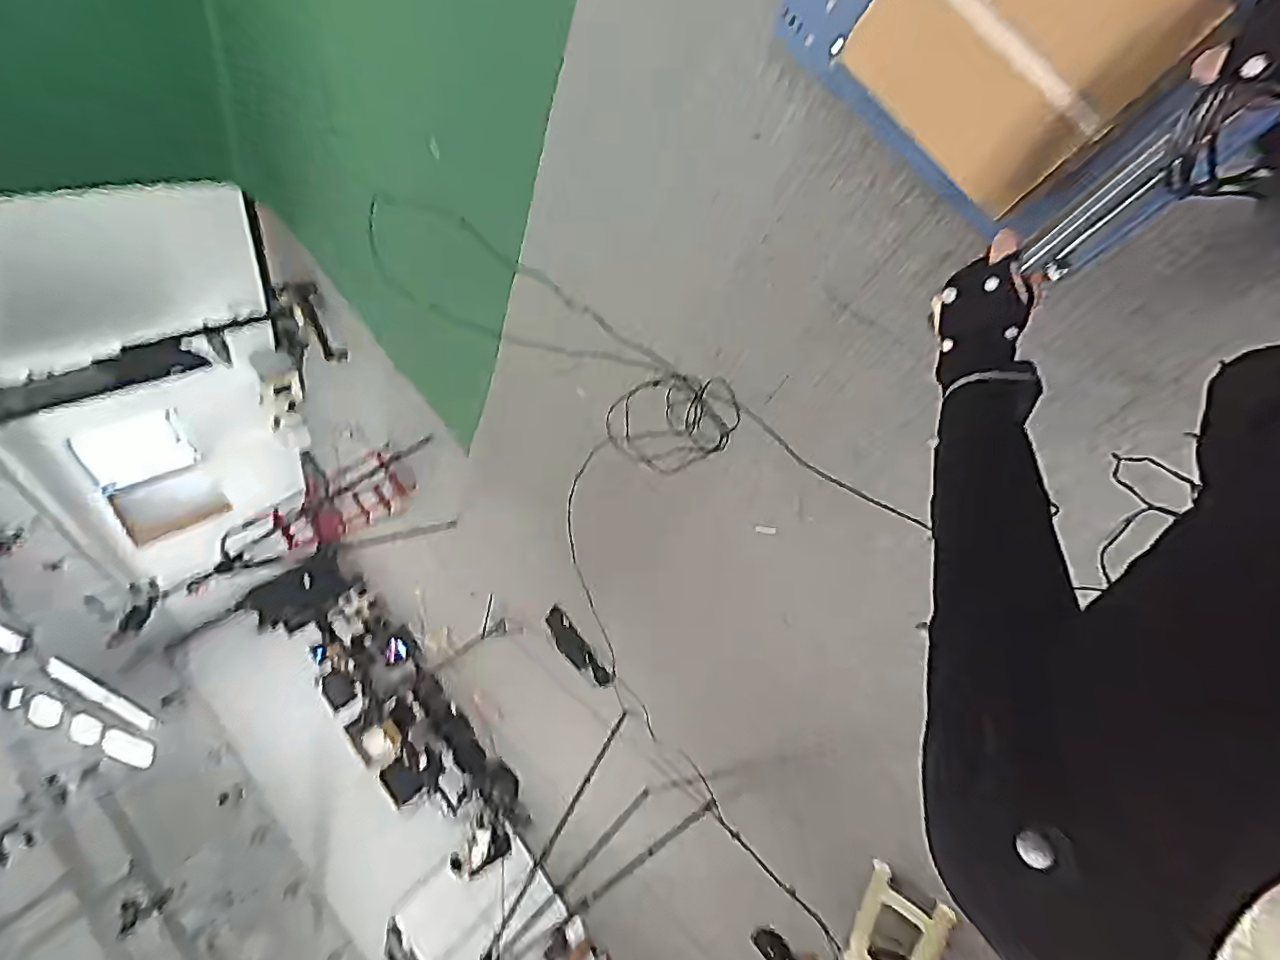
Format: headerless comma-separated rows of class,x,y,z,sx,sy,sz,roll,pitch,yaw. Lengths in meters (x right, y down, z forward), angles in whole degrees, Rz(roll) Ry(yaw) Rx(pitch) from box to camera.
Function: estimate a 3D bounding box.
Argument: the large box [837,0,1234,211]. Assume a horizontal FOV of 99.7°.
large box,0.622,-0.719,0.877,0.408,0.320,0.320,53,142,7
